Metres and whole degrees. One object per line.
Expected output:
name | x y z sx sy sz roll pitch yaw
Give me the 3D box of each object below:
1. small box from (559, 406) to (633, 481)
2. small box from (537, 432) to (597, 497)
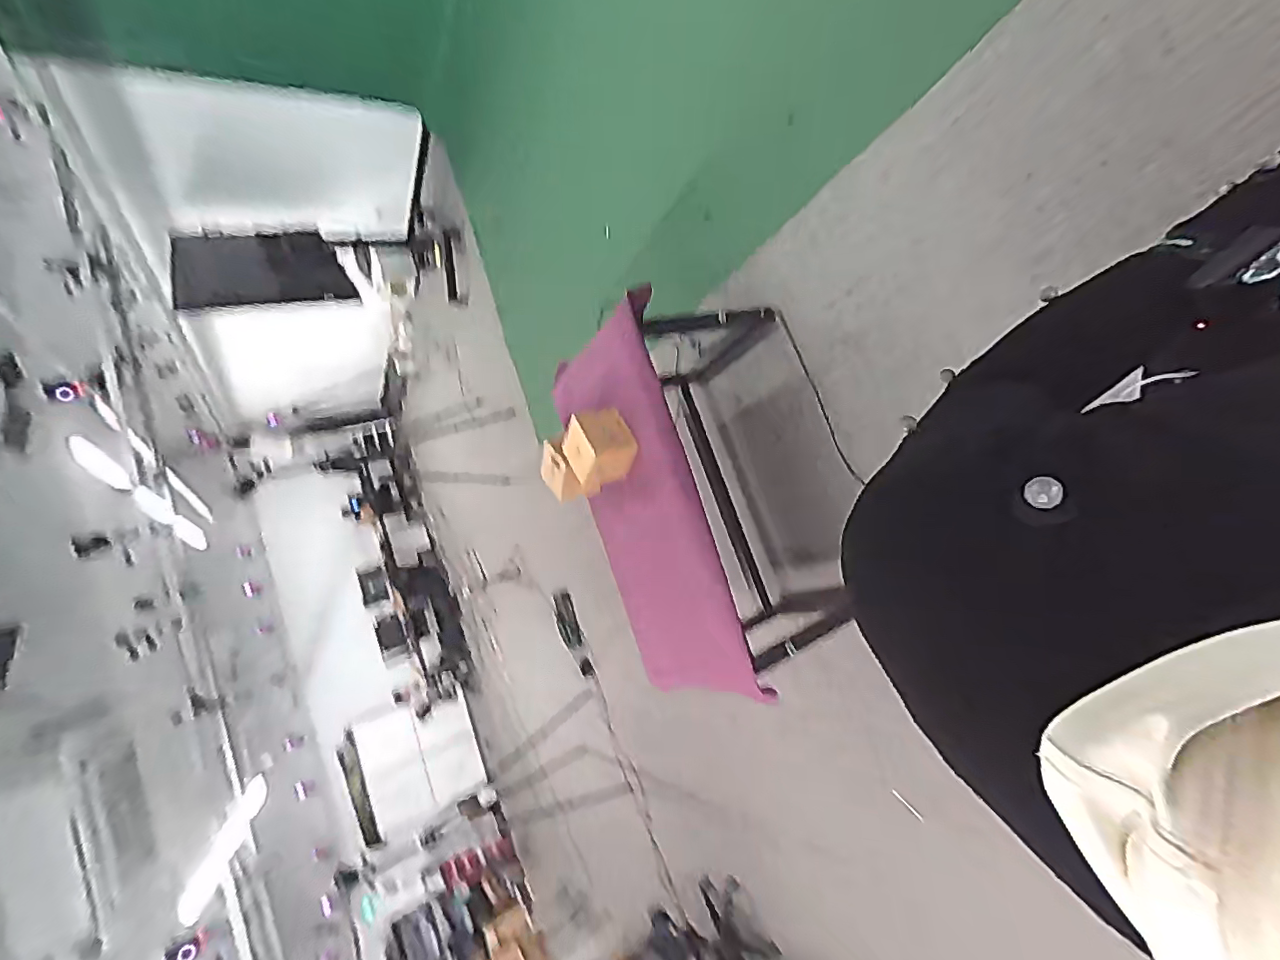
small box | -0.143 -0.125 1.788 0.168 0.176 0.179 59 145 23
small box | -0.258 -0.069 1.984 0.168 0.176 0.179 48 140 35
